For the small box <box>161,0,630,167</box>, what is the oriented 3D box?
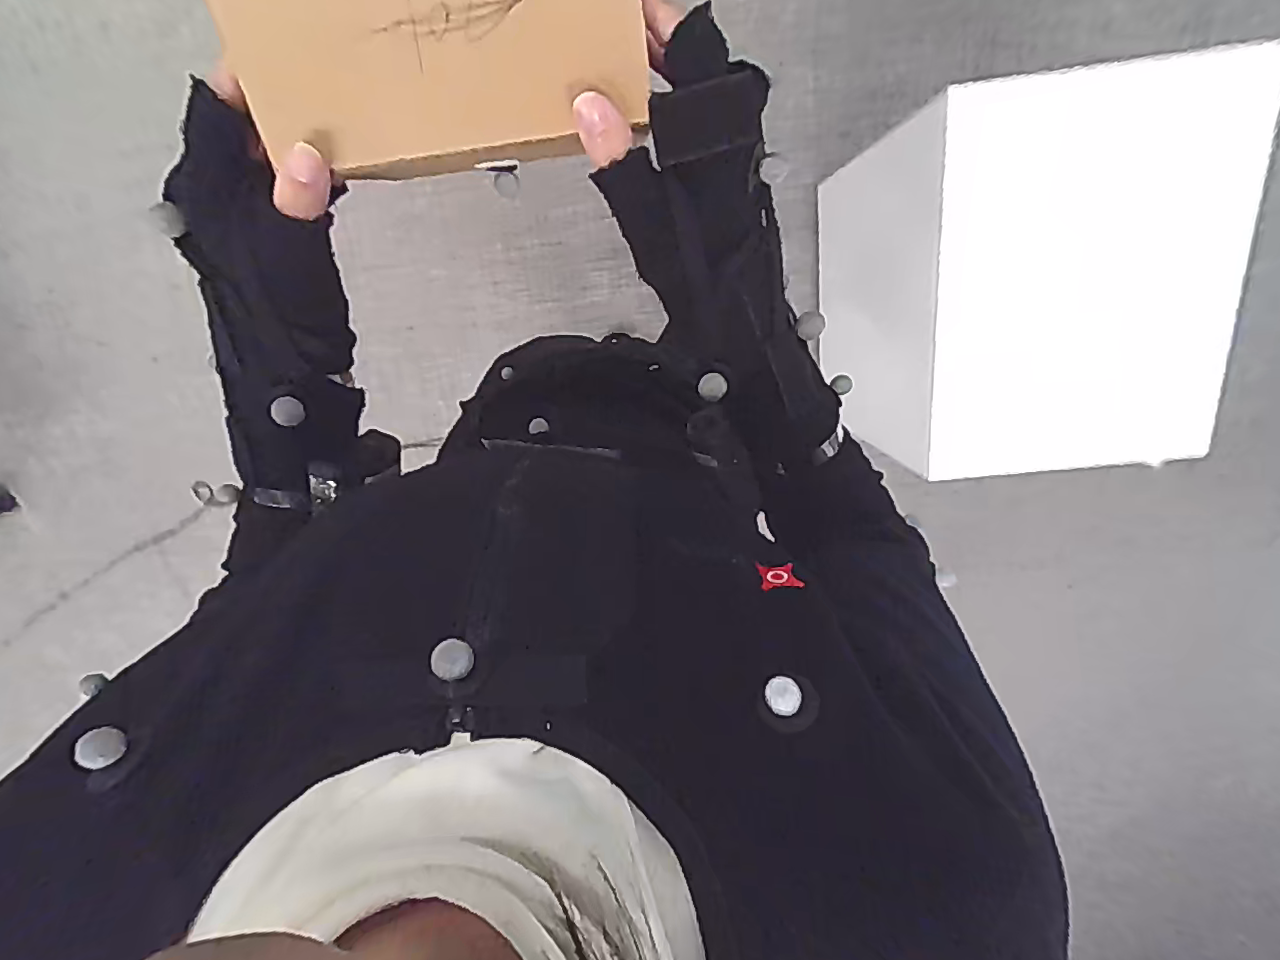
[{"bbox_3d":[-0.098,-0.255,0.245,0.168,0.176,0.179,-7,119,3],"label":"small box"}]
